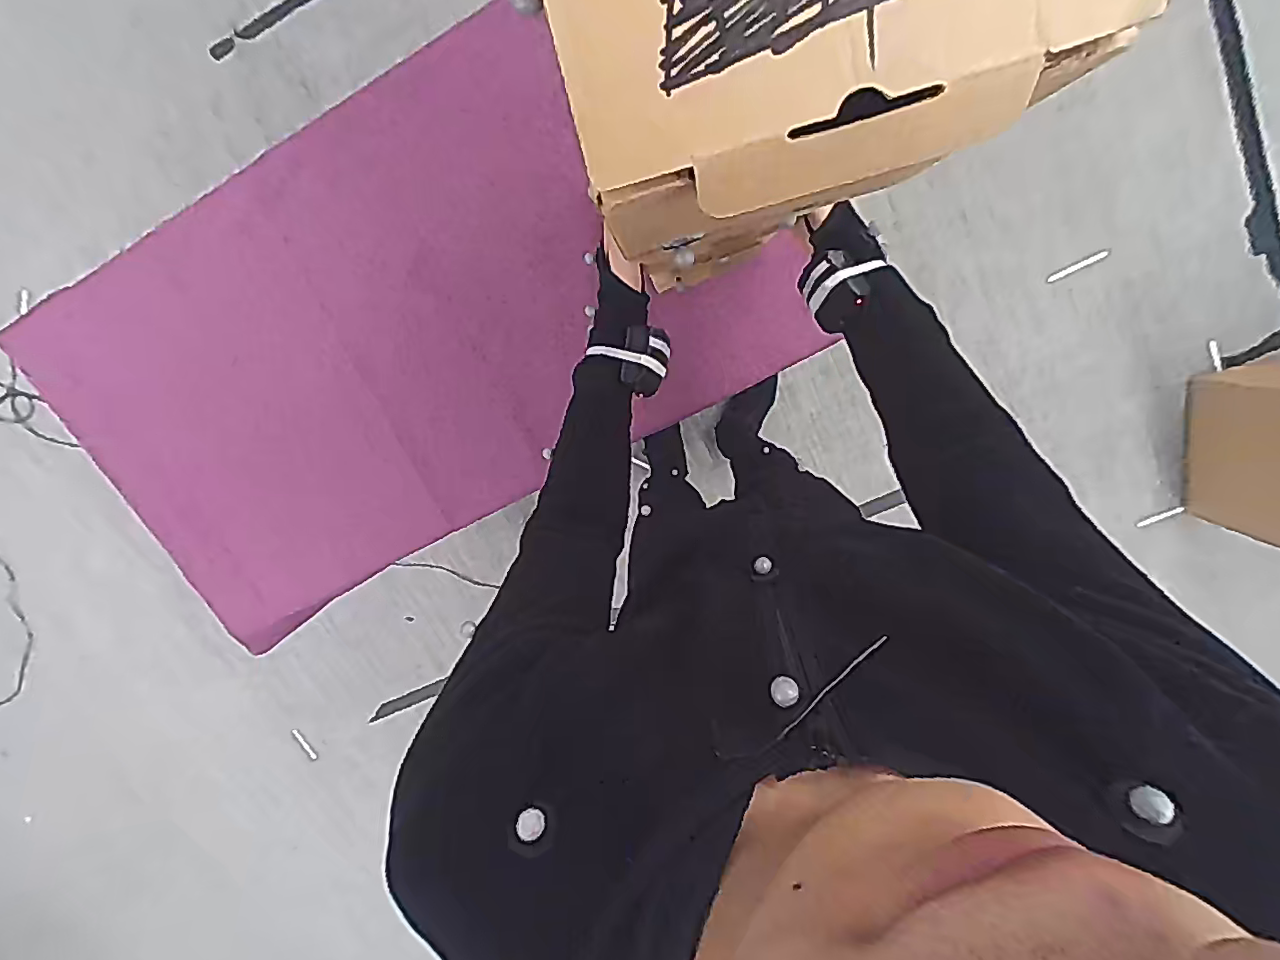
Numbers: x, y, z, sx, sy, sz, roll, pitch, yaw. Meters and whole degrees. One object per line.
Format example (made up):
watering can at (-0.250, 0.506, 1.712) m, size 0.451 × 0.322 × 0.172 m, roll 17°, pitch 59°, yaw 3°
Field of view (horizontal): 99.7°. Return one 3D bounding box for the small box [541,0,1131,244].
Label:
small box at (0.046, -0.210, 0.221) m, size 0.168 × 0.176 × 0.179 m, roll -14°, pitch 104°, yaw 5°
